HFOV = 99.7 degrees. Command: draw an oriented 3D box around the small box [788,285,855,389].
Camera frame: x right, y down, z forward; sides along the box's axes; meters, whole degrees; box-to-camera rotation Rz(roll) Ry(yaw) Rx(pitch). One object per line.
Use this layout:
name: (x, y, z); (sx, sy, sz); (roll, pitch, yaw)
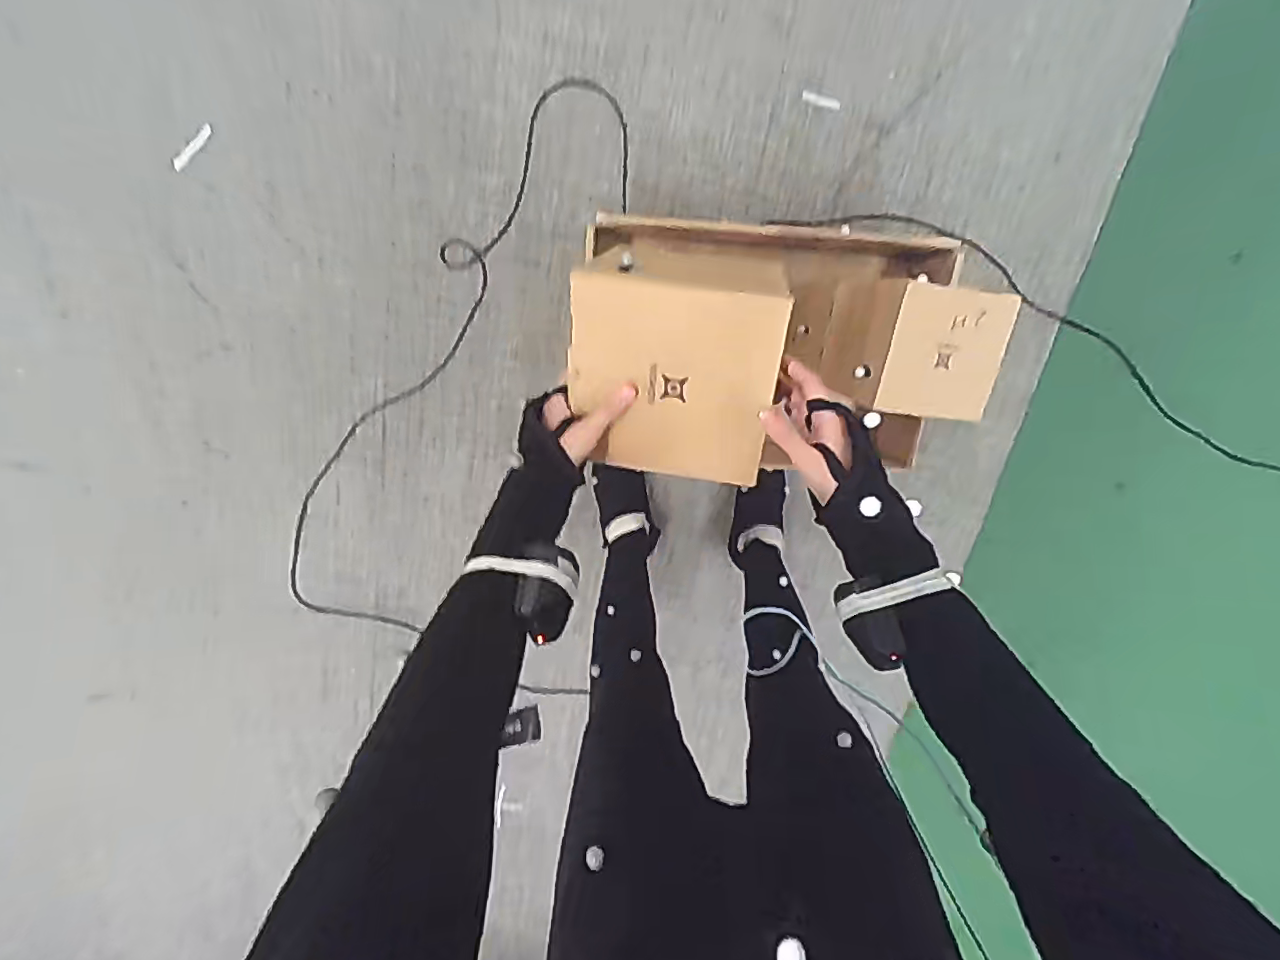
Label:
small box: (0.382, -0.248, 0.967); (0.179, 0.176, 0.168); (7, 109, -5)

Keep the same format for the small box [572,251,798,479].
small box: (0.040, -0.121, 0.526); (0.179, 0.176, 0.168); (8, 119, 5)

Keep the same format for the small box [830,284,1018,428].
small box: (0.407, -0.191, 0.813); (0.168, 0.176, 0.179); (6, 108, -7)
